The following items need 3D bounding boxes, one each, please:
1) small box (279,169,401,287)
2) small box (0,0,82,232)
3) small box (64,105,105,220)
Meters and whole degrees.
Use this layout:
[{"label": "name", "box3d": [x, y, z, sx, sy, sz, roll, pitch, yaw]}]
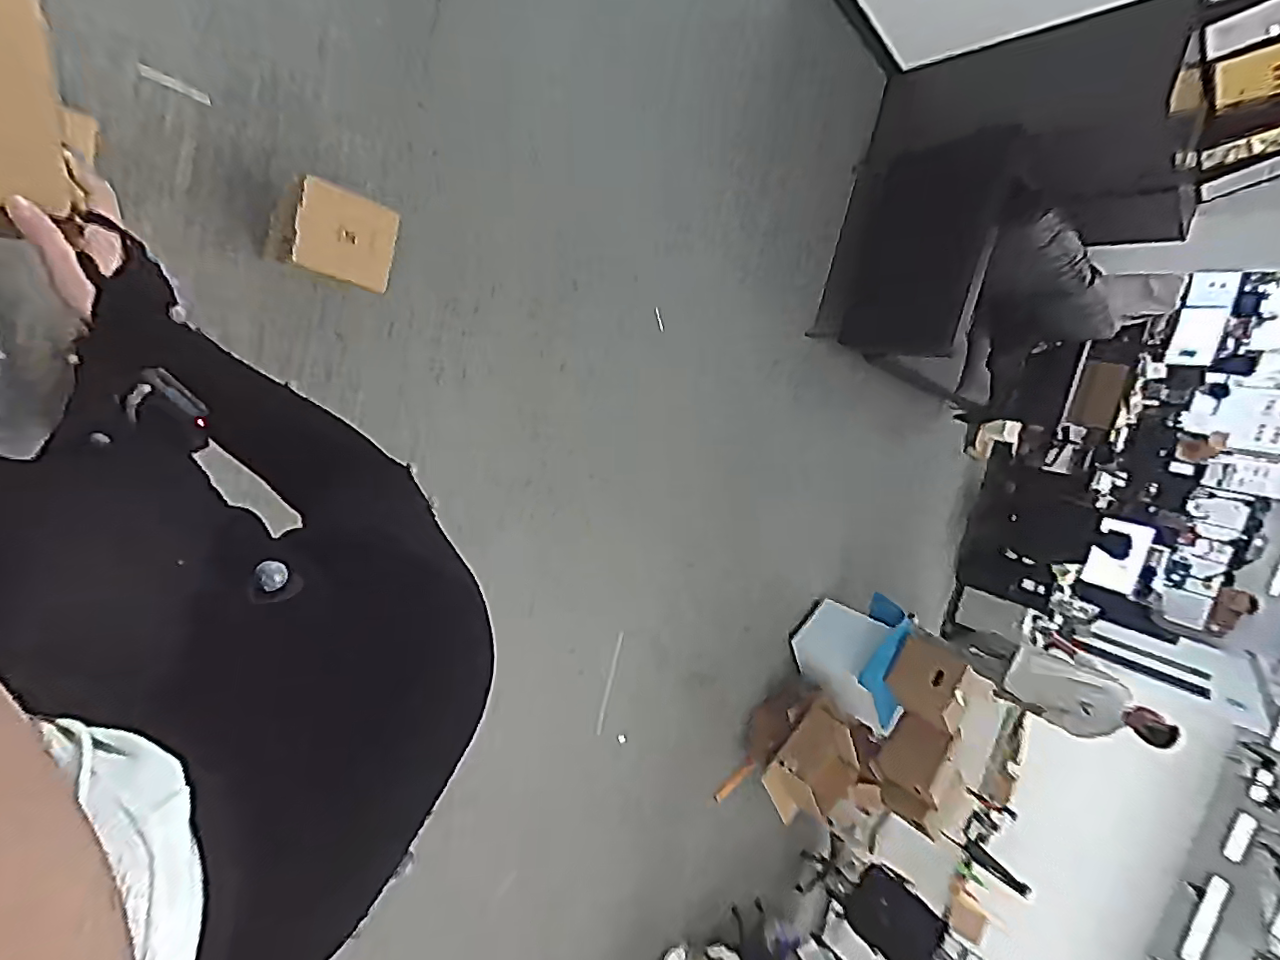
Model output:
[{"label": "small box", "box3d": [-0.628, -0.509, 1.123, 0.179, 0.176, 0.168, 8, 99, -44]}, {"label": "small box", "box3d": [-0.594, -0.318, 0.448, 0.168, 0.176, 0.179, -11, 108, -44]}, {"label": "small box", "box3d": [-1.062, -0.569, 0.937, 0.179, 0.176, 0.168, 6, 101, -44]}]
